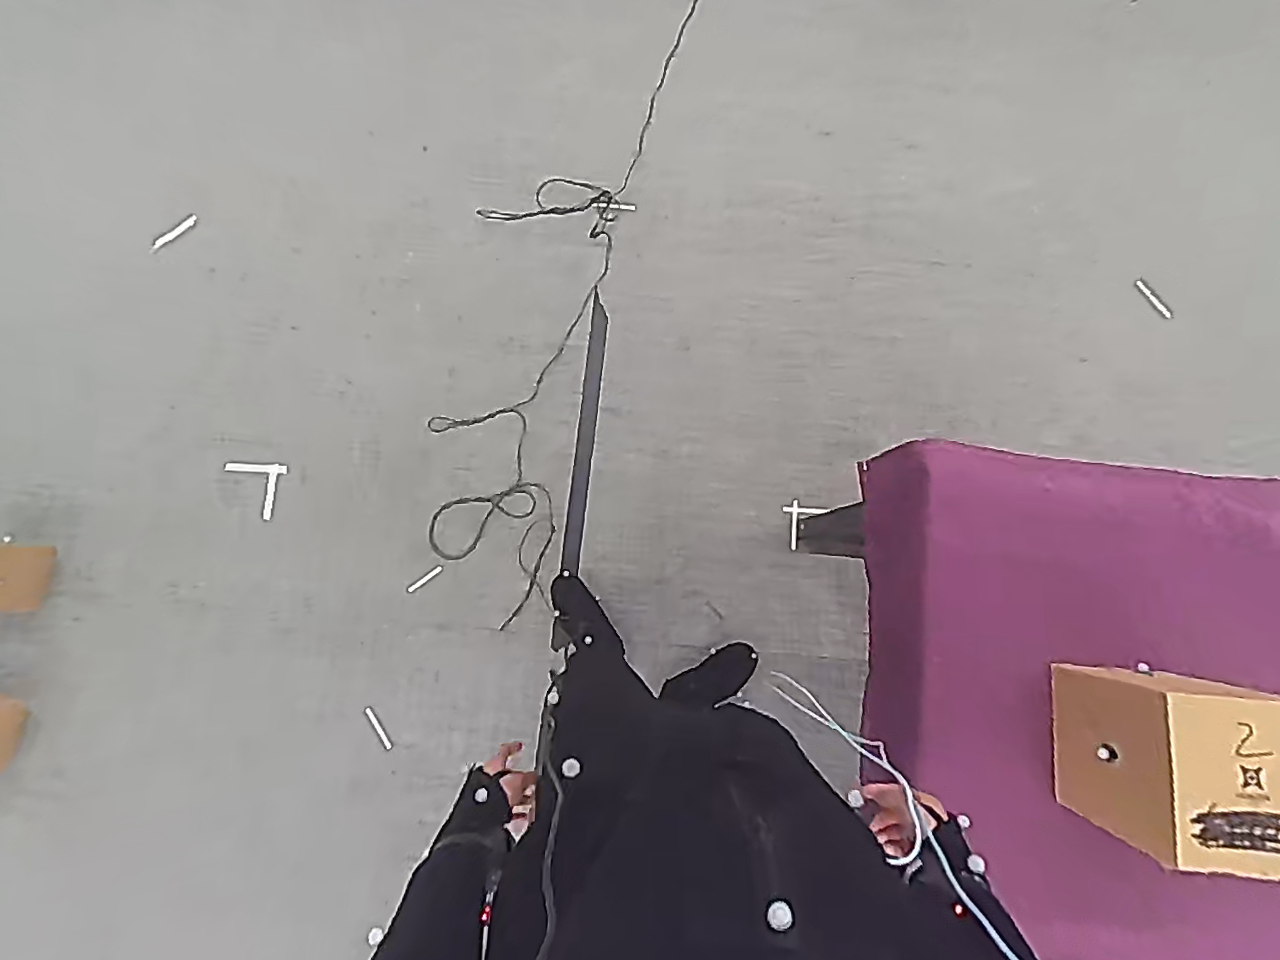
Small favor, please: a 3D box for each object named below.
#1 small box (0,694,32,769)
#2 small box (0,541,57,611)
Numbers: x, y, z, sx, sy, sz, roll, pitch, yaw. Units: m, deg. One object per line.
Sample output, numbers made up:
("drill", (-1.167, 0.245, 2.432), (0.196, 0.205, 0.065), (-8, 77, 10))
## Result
("small box", (-1.708, 0.643, 1.355), (0.168, 0.176, 0.179), (12, 83, 2))
("small box", (-1.697, 0.250, 1.409), (0.168, 0.176, 0.179), (3, 81, 1))
